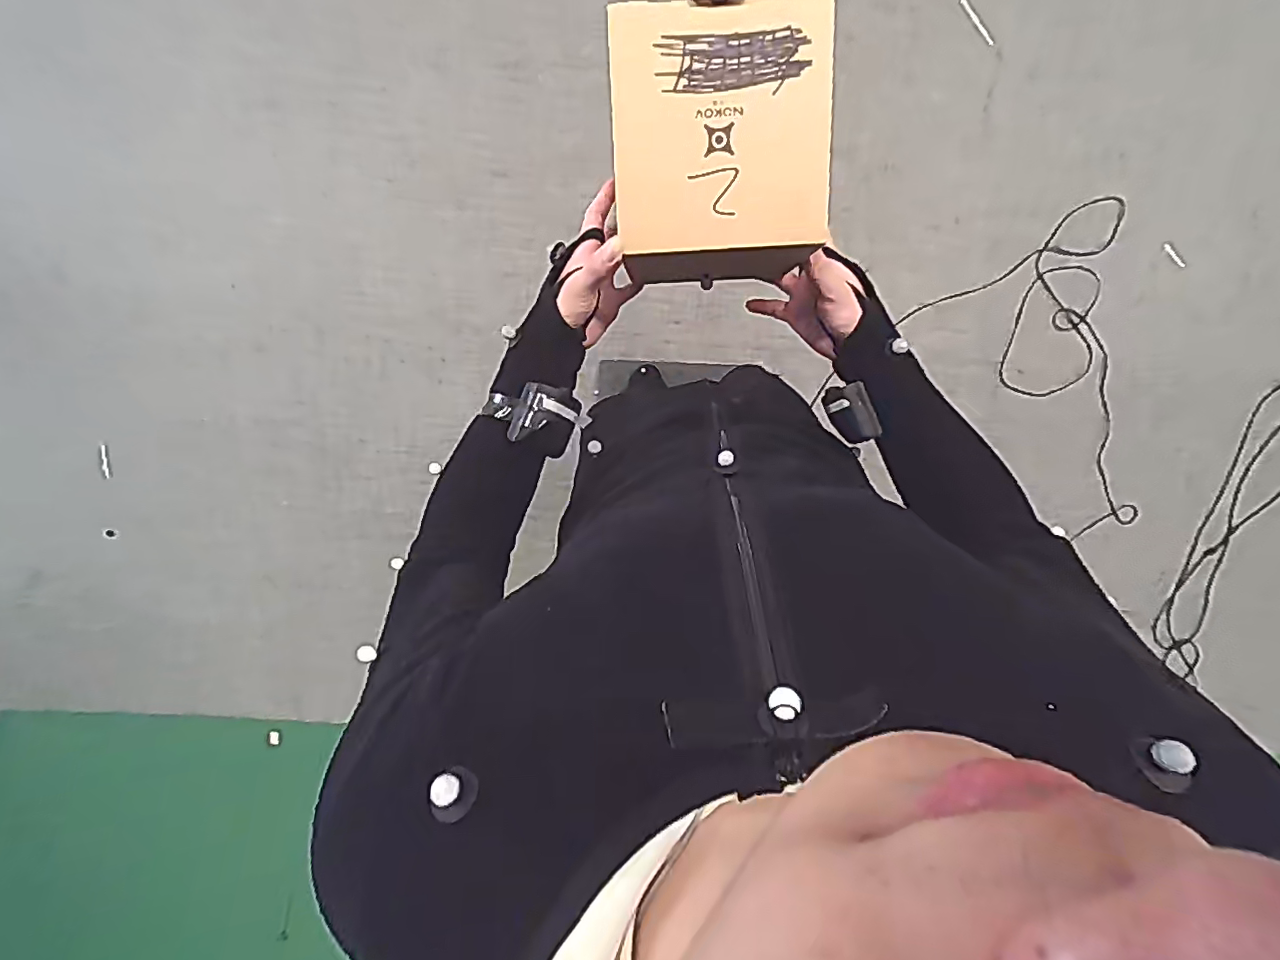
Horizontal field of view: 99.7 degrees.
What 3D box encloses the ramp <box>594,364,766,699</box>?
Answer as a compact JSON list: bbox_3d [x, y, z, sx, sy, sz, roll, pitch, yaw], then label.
[{"bbox_3d":[0.116,0.160,1.622,0.509,0.206,0.991,0,102,0],"label":"ramp"}]
